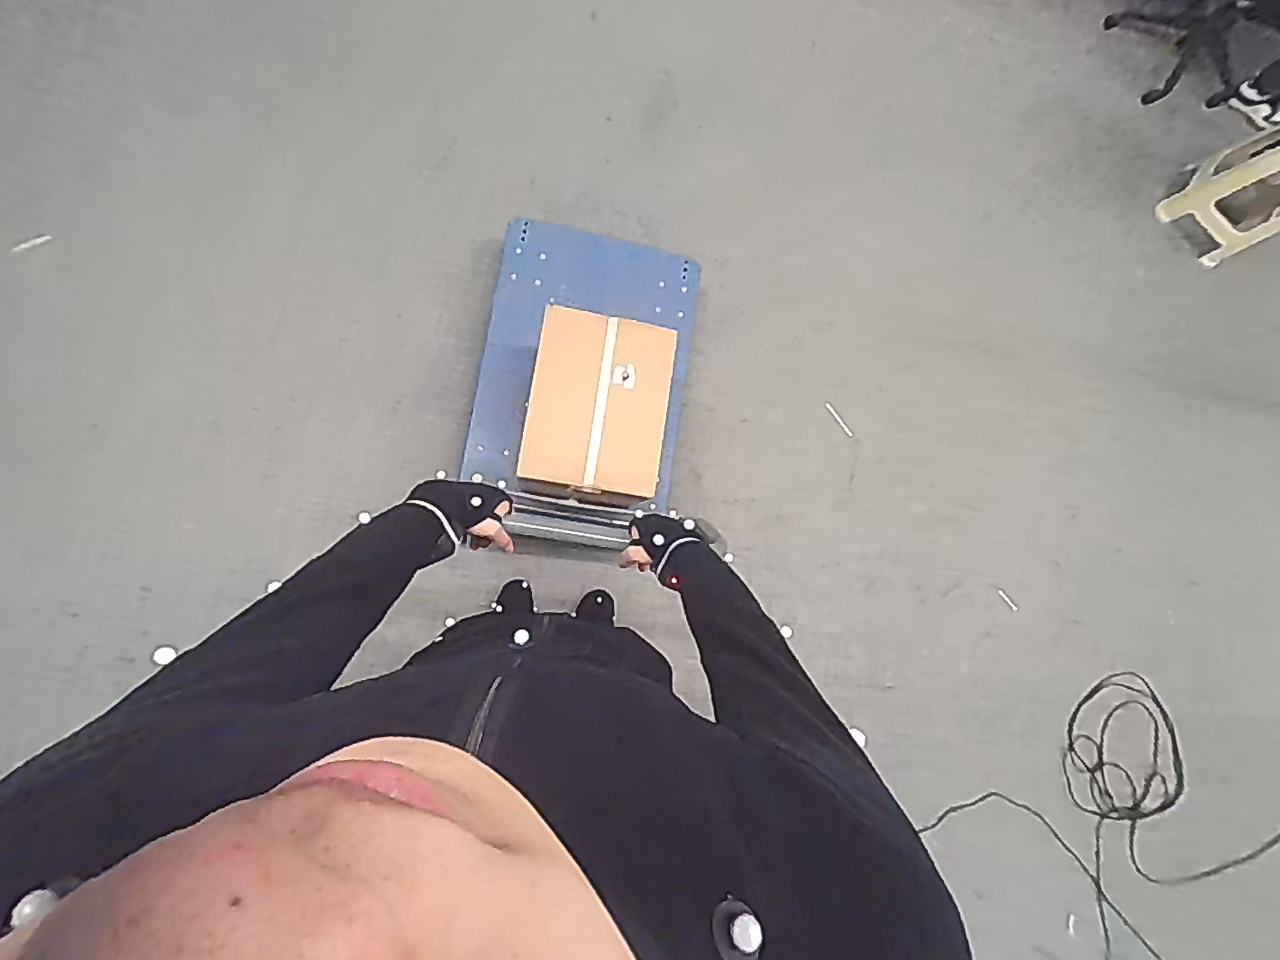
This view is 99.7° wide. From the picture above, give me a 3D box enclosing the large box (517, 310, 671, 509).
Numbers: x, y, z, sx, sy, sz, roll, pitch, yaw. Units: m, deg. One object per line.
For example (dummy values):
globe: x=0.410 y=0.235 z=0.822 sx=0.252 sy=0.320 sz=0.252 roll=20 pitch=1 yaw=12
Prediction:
large box: x=-0.123 y=-0.153 z=1.369 sx=0.320 sy=0.320 sz=0.408 roll=9 pitch=80 yaw=-10
